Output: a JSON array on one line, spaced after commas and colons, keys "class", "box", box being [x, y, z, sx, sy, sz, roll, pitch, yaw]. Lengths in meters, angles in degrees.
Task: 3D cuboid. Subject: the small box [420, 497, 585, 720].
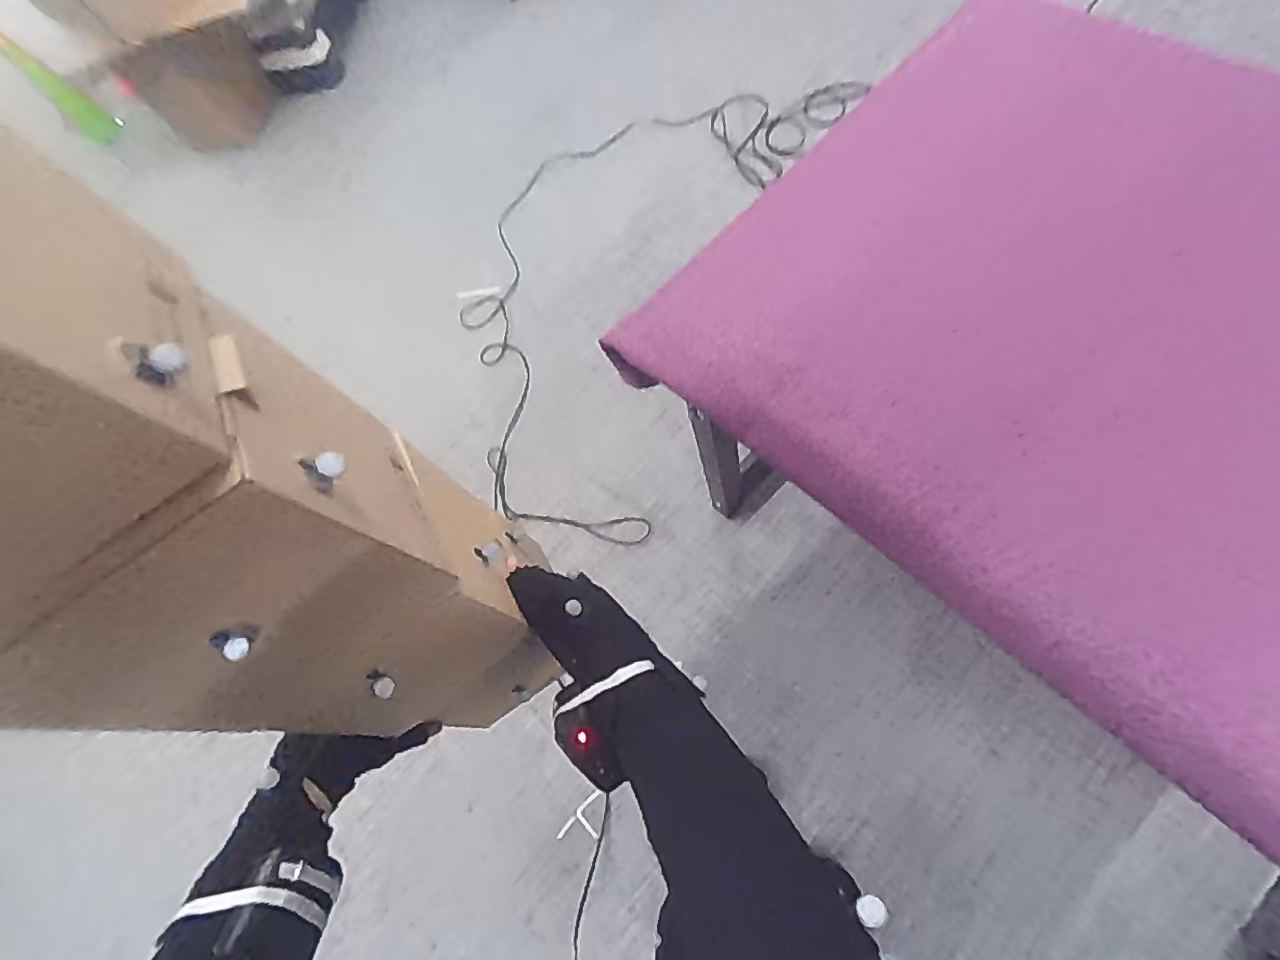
[{"class": "small box", "box": [-0.188, 0.156, 0.626, 0.168, 0.176, 0.179, -33, 61, -2]}]

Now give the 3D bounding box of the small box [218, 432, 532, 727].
[{"class": "small box", "box": [-0.215, 0.096, 0.476, 0.179, 0.176, 0.168, -32, 61, -2]}]
